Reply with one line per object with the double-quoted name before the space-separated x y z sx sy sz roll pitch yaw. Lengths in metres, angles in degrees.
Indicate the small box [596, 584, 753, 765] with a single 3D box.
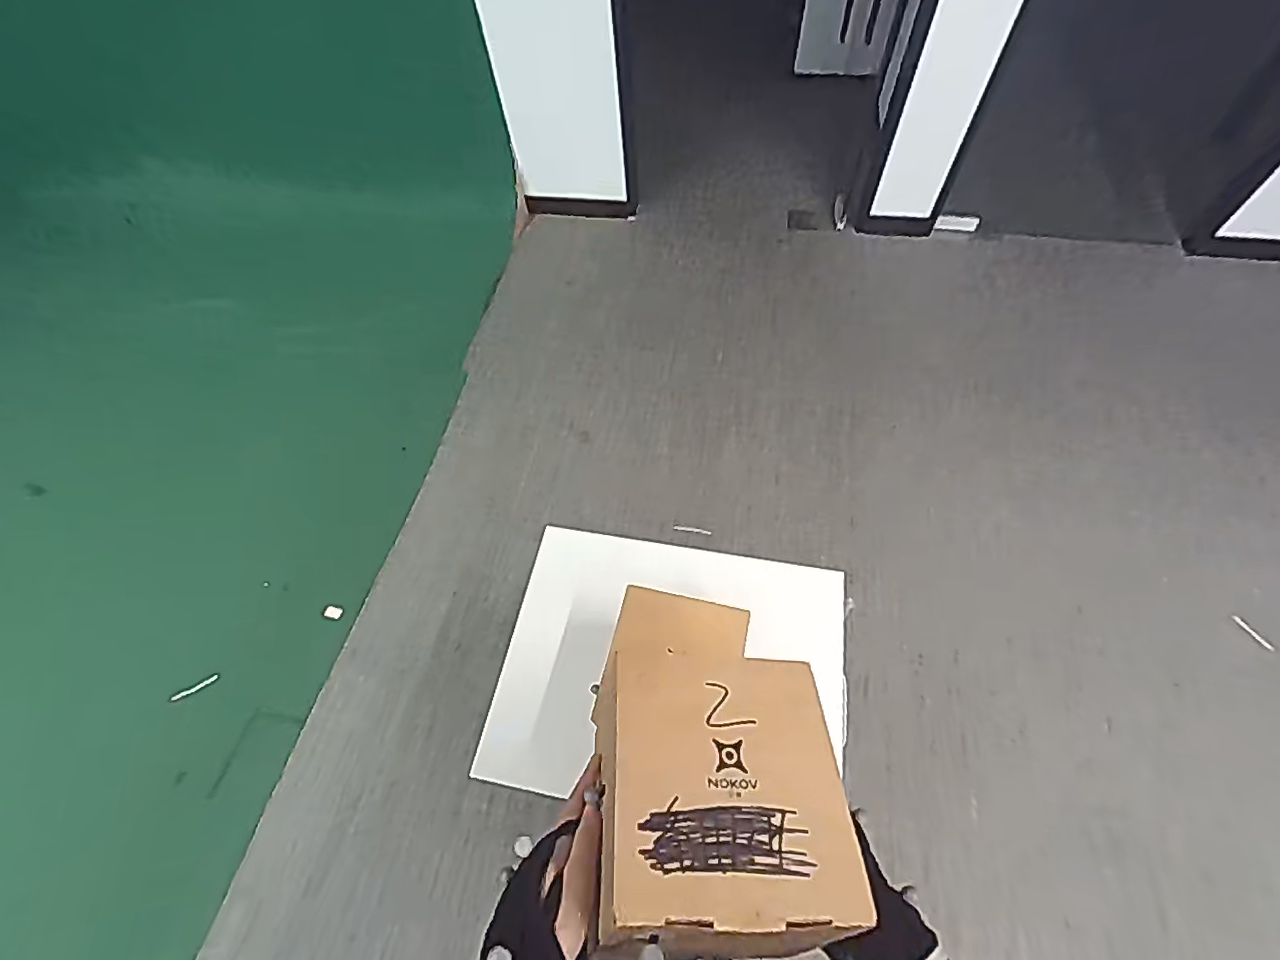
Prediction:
"small box" 0.049 0.265 0.728 0.168 0.176 0.179 10 60 10
